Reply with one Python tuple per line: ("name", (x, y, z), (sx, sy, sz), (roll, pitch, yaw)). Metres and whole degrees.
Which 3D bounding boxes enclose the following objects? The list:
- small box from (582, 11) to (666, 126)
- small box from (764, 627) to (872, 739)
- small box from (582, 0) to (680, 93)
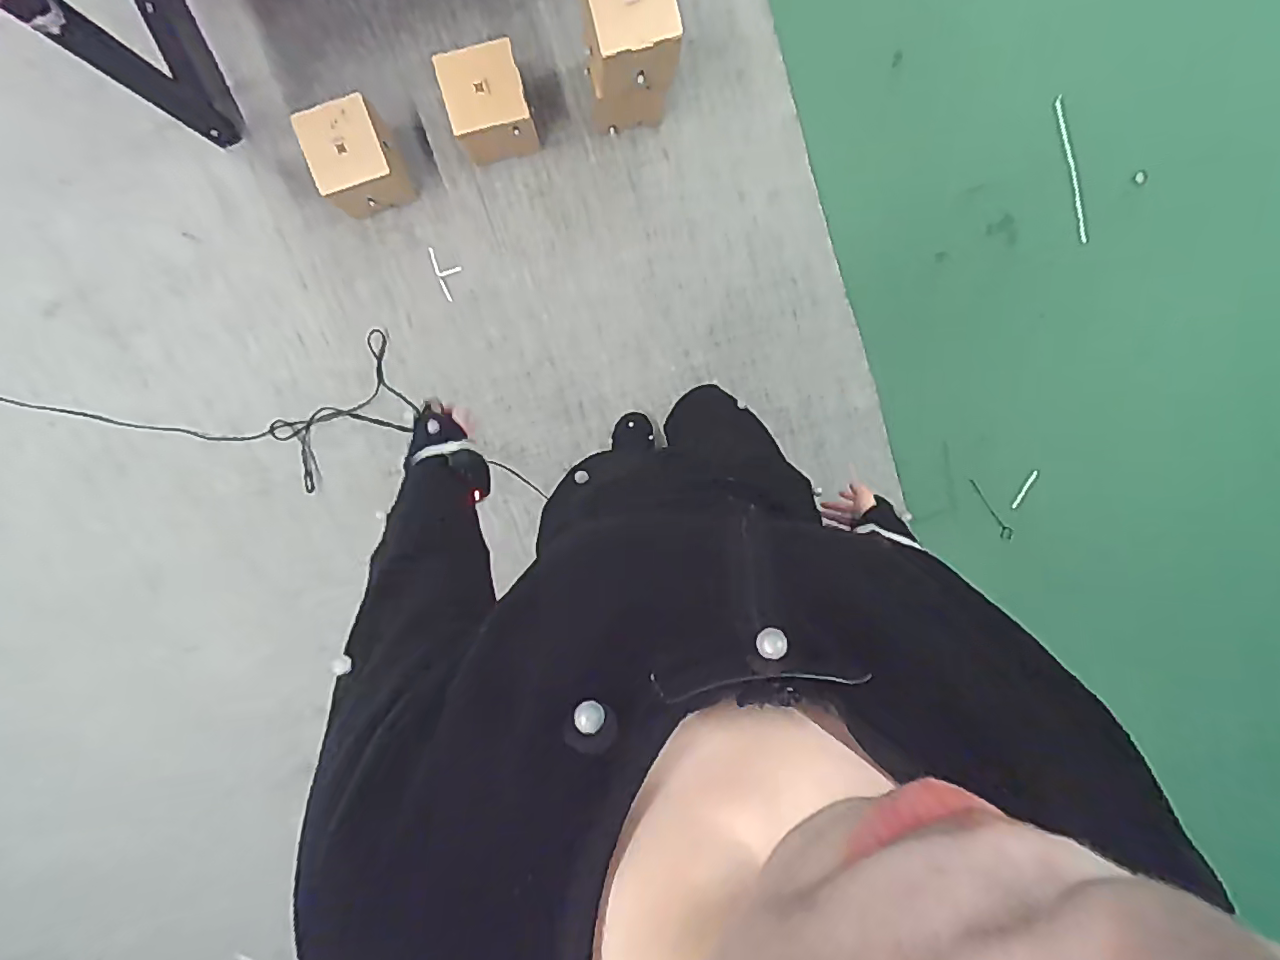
("small box", (-0.035, -0.958, 1.261), (0.168, 0.176, 0.179), (-10, 98, -1))
("small box", (0.426, 0.484, 1.327), (0.168, 0.176, 0.179), (-29, 99, 3))
("small box", (-0.022, -0.927, 1.099), (0.168, 0.176, 0.179), (-14, 100, 0))
